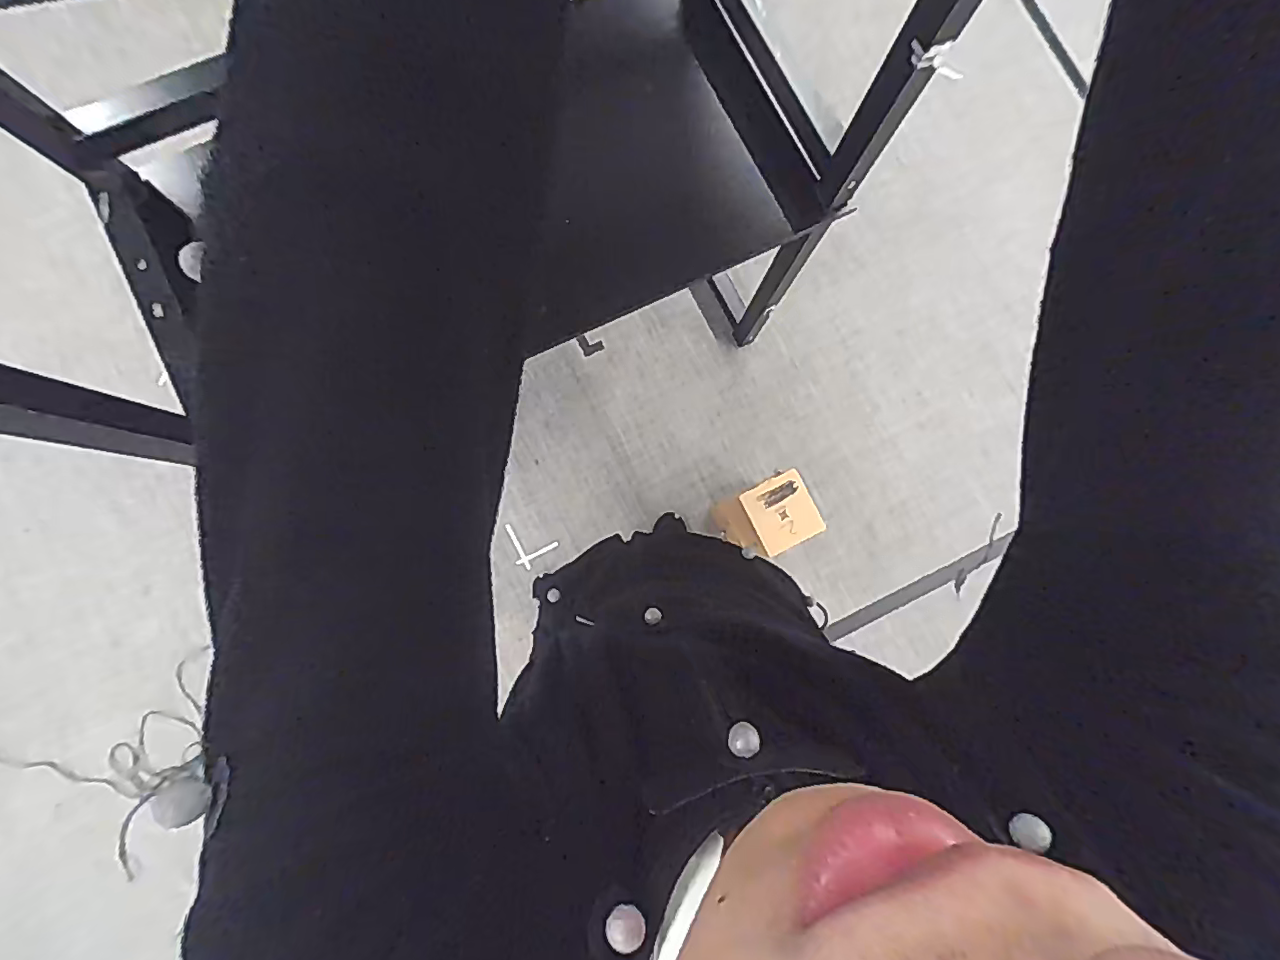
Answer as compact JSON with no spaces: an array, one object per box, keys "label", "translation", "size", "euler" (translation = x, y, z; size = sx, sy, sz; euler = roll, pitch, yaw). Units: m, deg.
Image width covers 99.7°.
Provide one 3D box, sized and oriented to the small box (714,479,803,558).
[{"label":"small box","translation":[0.338,0.114,1.578],"size":[0.179,0.176,0.168],"euler":[-28,85,-4]}]
